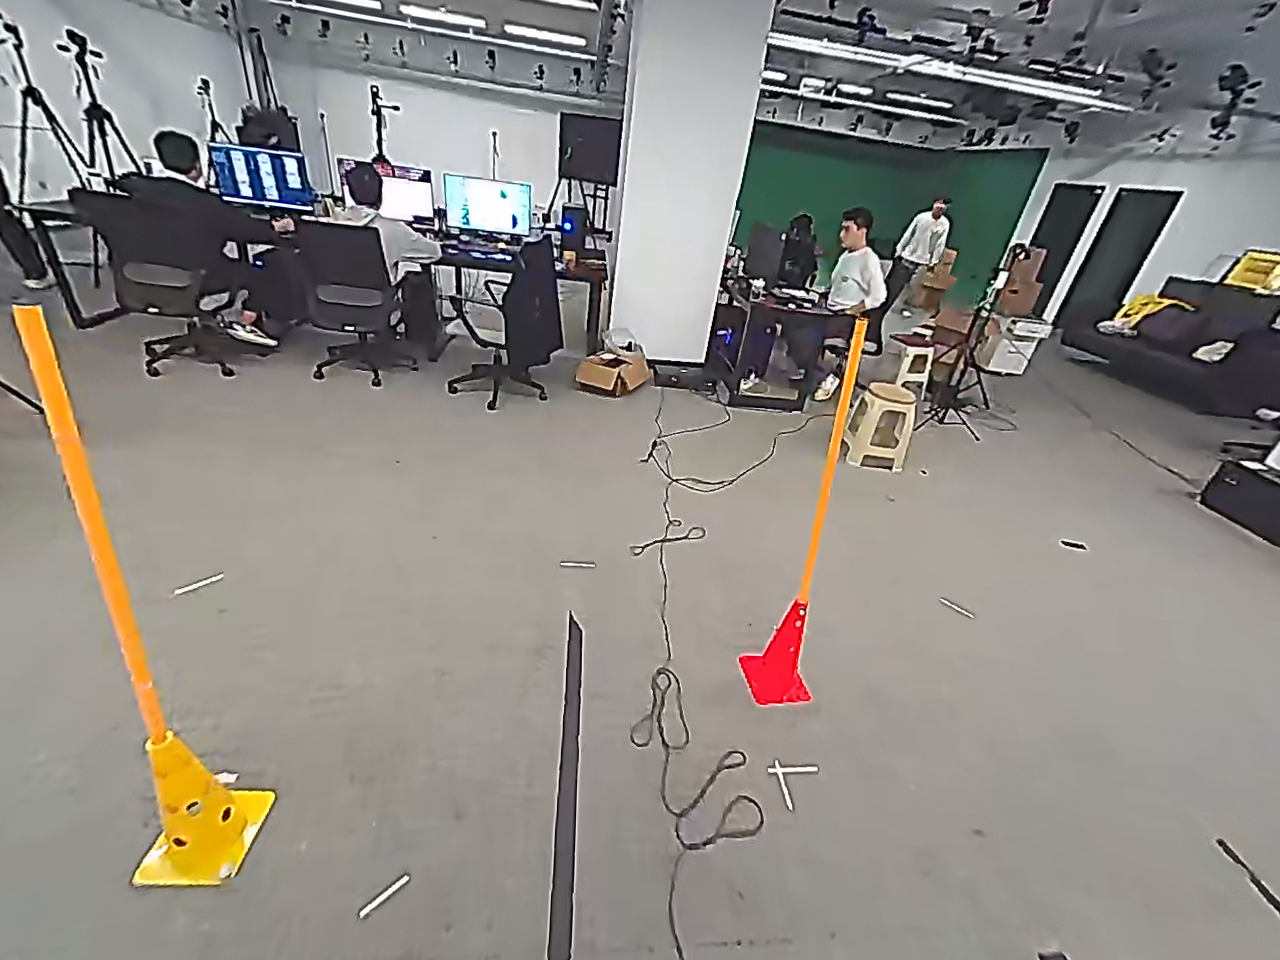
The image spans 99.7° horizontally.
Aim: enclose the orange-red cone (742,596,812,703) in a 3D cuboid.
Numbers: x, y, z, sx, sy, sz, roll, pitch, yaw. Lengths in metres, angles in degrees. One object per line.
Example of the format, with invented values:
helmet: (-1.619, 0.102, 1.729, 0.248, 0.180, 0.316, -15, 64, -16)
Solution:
orange-red cone: (0.478, 0.519, 1.738, 0.199, 0.360, 0.198, 1, 30, -11)
